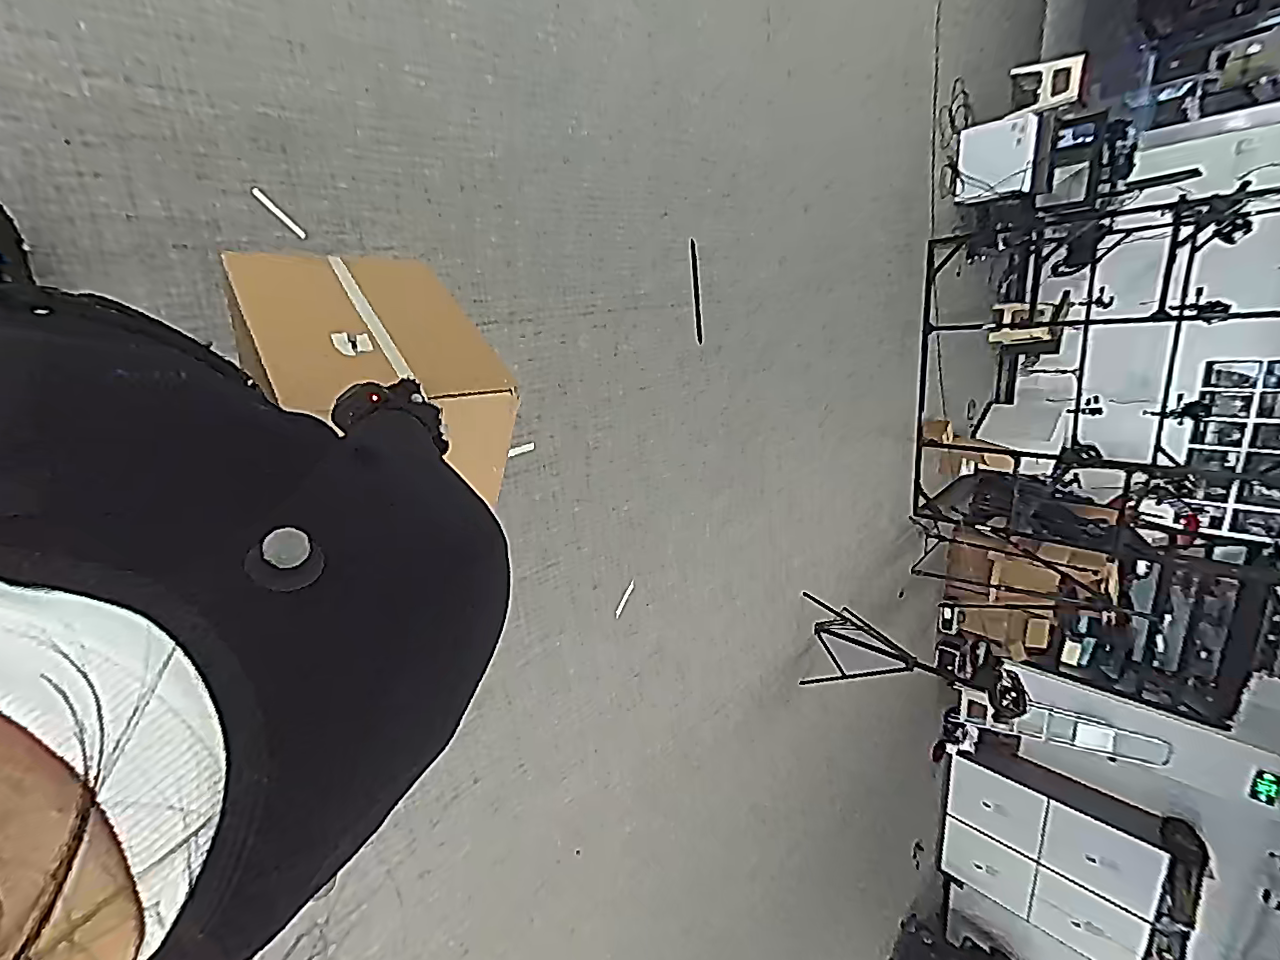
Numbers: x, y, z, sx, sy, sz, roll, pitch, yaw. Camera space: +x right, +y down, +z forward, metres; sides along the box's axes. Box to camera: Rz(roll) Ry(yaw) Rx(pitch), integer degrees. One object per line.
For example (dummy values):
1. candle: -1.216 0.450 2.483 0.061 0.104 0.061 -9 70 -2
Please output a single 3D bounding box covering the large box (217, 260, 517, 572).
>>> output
1. large box: -0.466 -0.123 0.917 0.320 0.408 0.320 -15 143 -38
